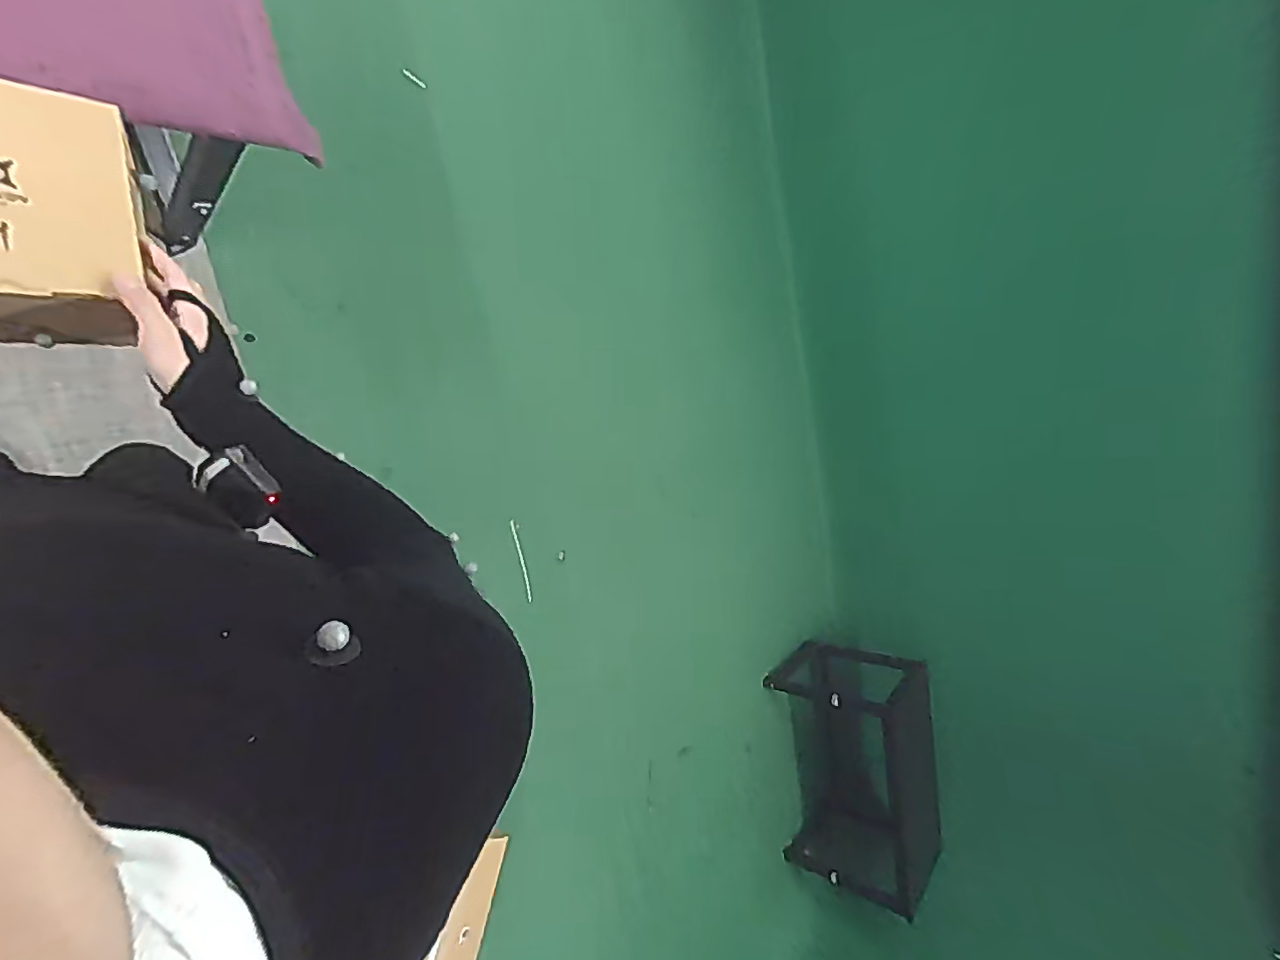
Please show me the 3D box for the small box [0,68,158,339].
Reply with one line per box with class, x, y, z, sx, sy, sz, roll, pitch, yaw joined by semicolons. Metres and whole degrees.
small box;-0.563;-0.242;0.494;0.168;0.176;0.179;-8;92;-38
